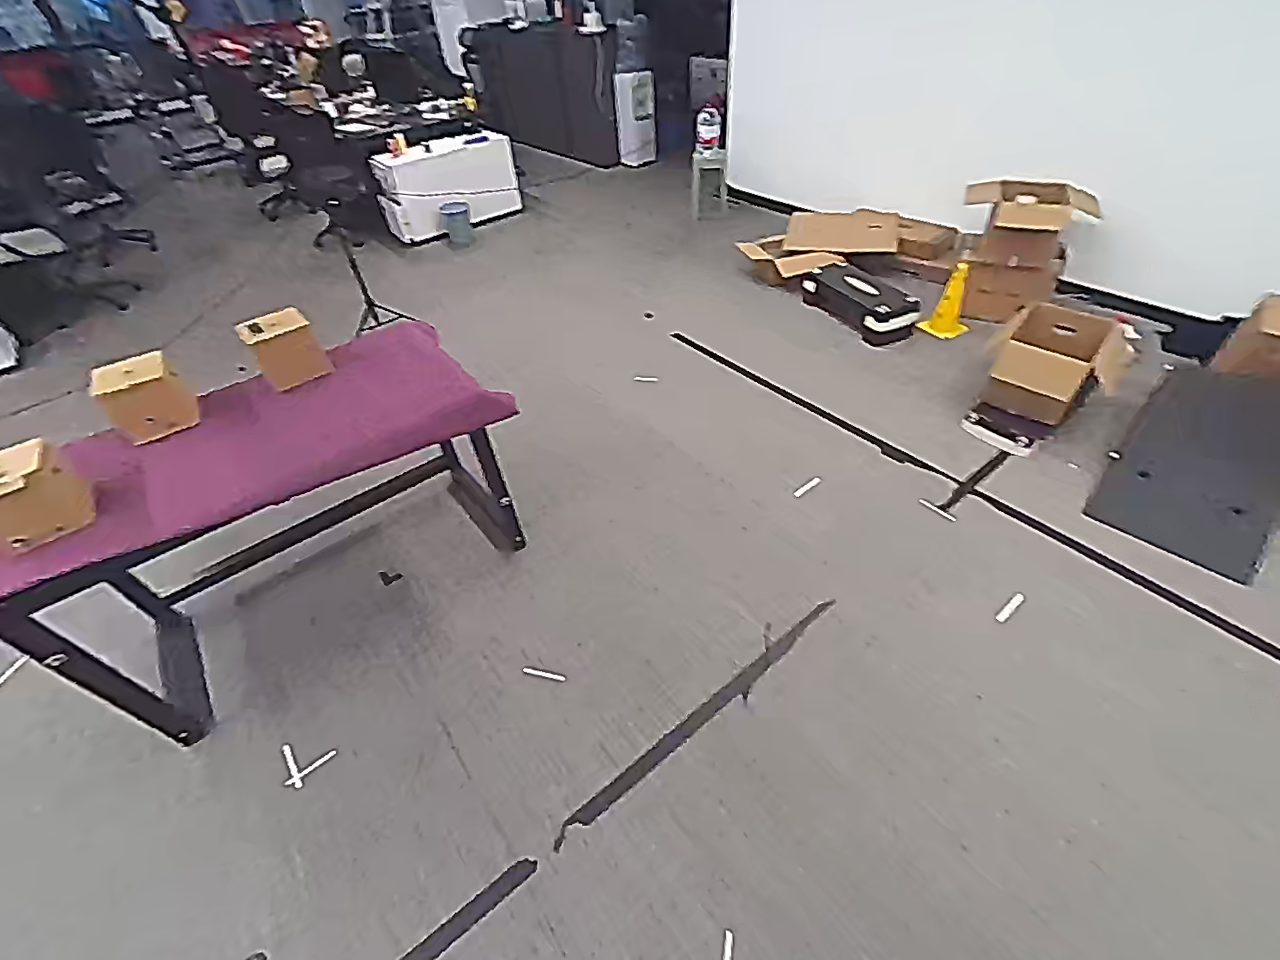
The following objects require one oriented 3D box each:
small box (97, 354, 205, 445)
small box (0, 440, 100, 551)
[{"bbox_3d":[-1.387,-0.229,1.542,0.168,0.176,0.179,-29,49,-23],"label":"small box"},{"bbox_3d":[-1.422,0.042,1.267,0.168,0.176,0.179,-32,48,-25],"label":"small box"}]
